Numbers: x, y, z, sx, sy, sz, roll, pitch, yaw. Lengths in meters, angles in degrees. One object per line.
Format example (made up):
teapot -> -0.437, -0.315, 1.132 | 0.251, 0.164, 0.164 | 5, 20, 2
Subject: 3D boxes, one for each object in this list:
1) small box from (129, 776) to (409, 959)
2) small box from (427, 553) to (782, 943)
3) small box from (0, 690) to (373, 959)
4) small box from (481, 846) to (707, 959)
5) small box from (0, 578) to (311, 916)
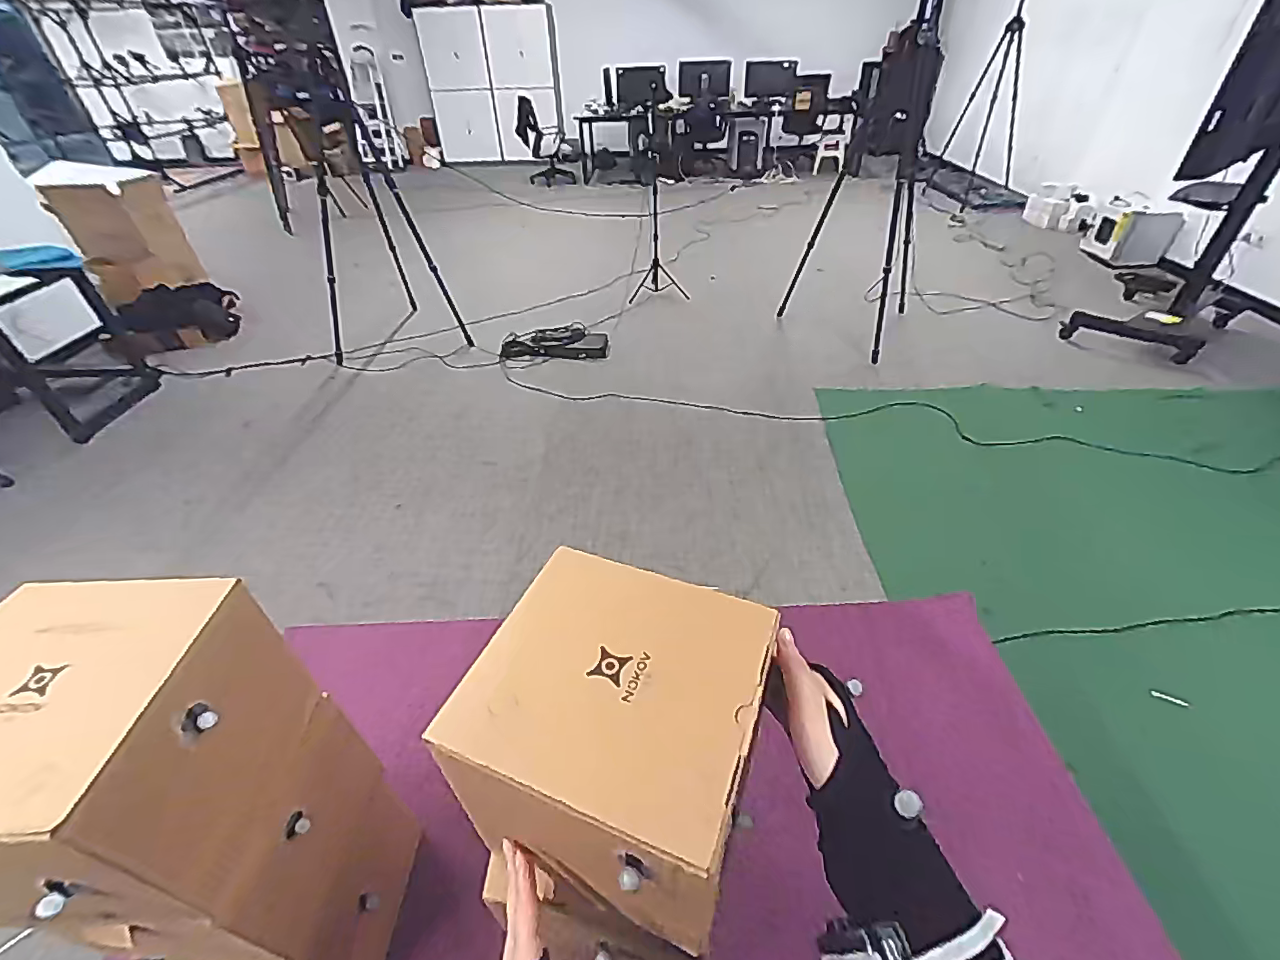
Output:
small box -> -0.380, 0.447, 0.599 | 0.168, 0.176, 0.179 | 1, 40, 1
small box -> -0.014, 0.187, 0.391 | 0.179, 0.176, 0.168 | 16, 42, 18
small box -> -0.379, 0.315, 0.500 | 0.168, 0.176, 0.179 | 1, 39, 3
small box -> -0.028, 0.312, 0.496 | 0.168, 0.176, 0.179 | 1, 40, 4
small box -> -0.381, 0.192, 0.394 | 0.168, 0.176, 0.179 | 0, 39, 0
